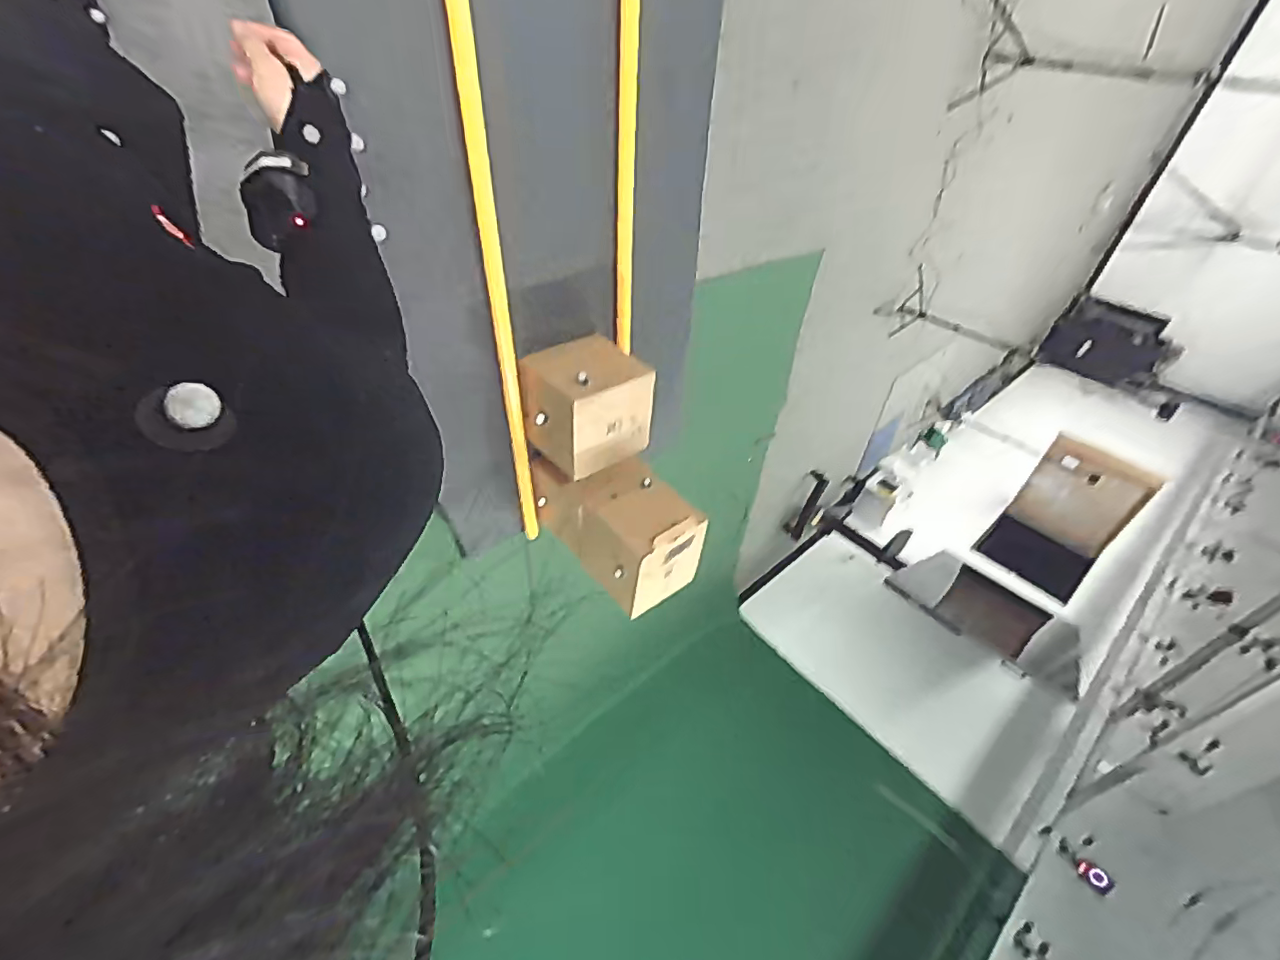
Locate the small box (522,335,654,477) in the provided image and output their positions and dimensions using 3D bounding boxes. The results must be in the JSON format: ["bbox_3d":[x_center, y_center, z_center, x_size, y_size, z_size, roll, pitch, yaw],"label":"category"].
[{"bbox_3d":[-0.100,-0.139,0.970,0.179,0.176,0.168,-27,141,-33],"label":"small box"}]

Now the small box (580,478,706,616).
[{"bbox_3d":[-0.001,0.117,1.035,0.168,0.176,0.179,-25,139,-34],"label":"small box"}]
